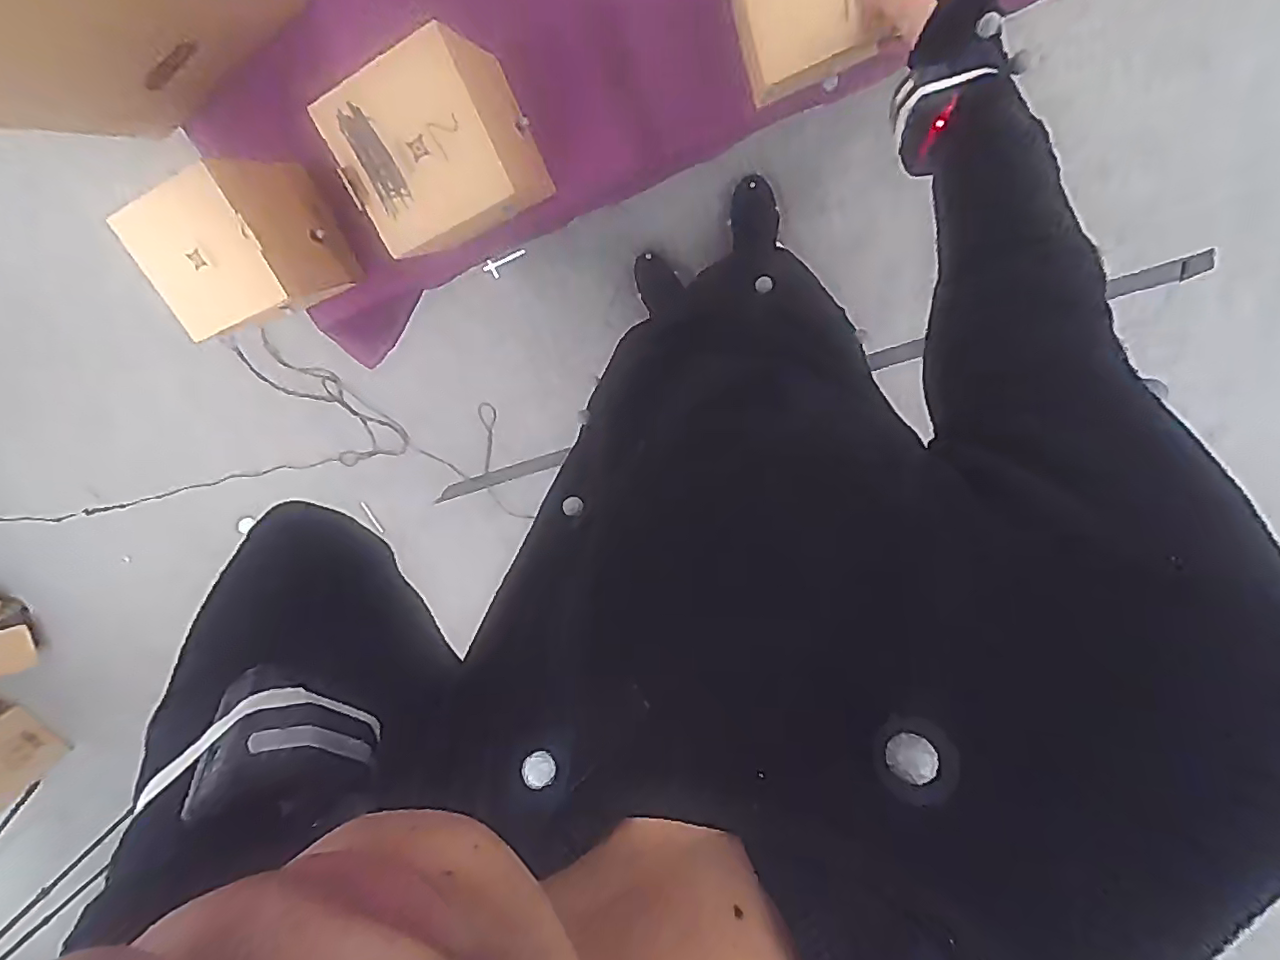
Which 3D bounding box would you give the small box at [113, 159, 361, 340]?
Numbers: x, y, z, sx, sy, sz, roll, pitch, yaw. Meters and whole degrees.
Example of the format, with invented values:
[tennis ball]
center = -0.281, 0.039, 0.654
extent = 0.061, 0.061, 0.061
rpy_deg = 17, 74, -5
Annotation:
[small box]
center = -0.534, -0.313, 0.744
extent = 0.179, 0.176, 0.168
rpy_deg = -17, 114, 16
